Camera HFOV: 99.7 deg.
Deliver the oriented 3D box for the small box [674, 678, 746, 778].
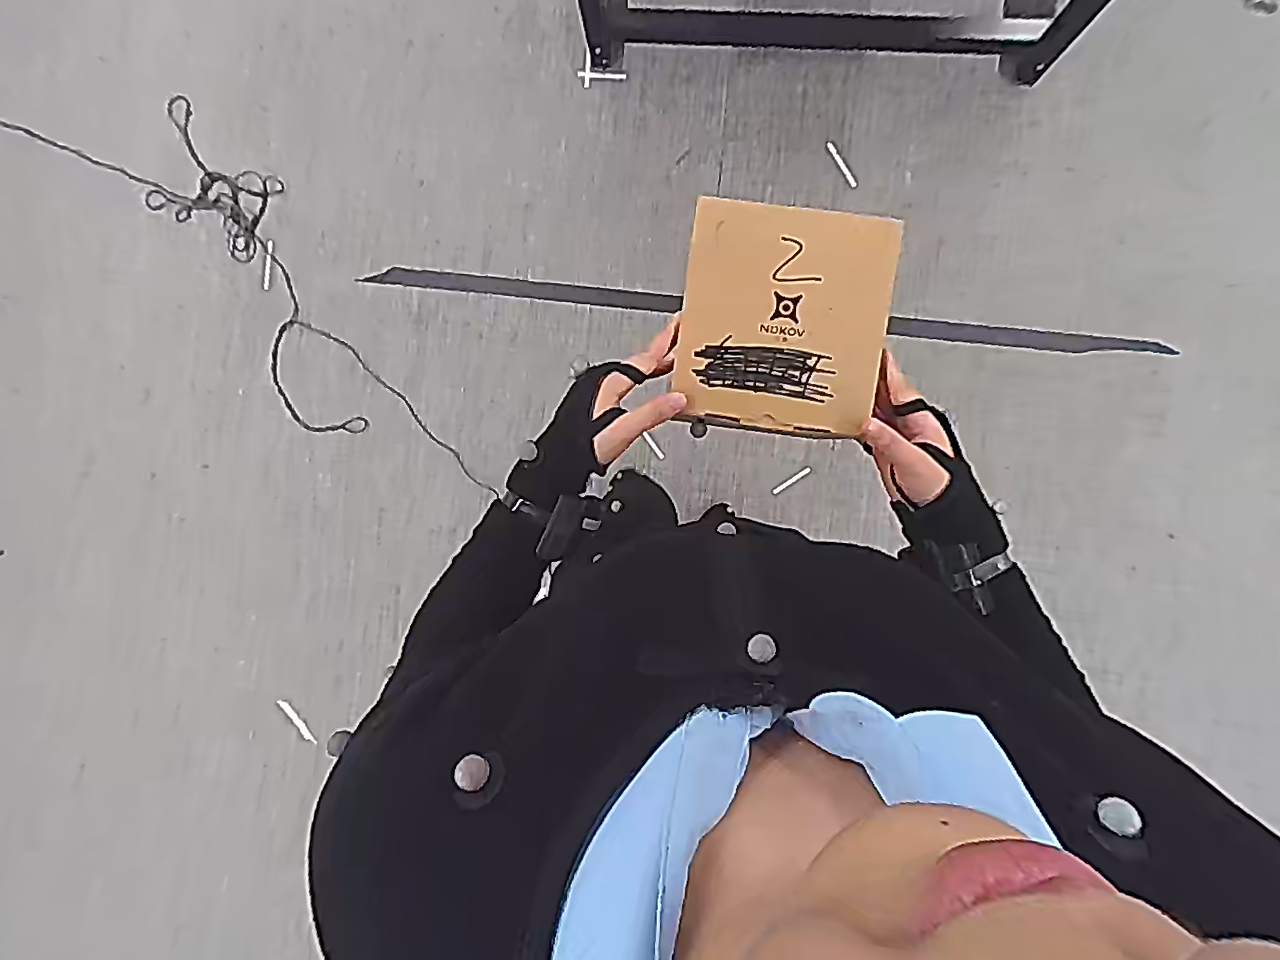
[{"bbox_3d":[0.174,0.621,1.376,0.168,0.176,0.179,3,91,5],"label":"small box"}]
